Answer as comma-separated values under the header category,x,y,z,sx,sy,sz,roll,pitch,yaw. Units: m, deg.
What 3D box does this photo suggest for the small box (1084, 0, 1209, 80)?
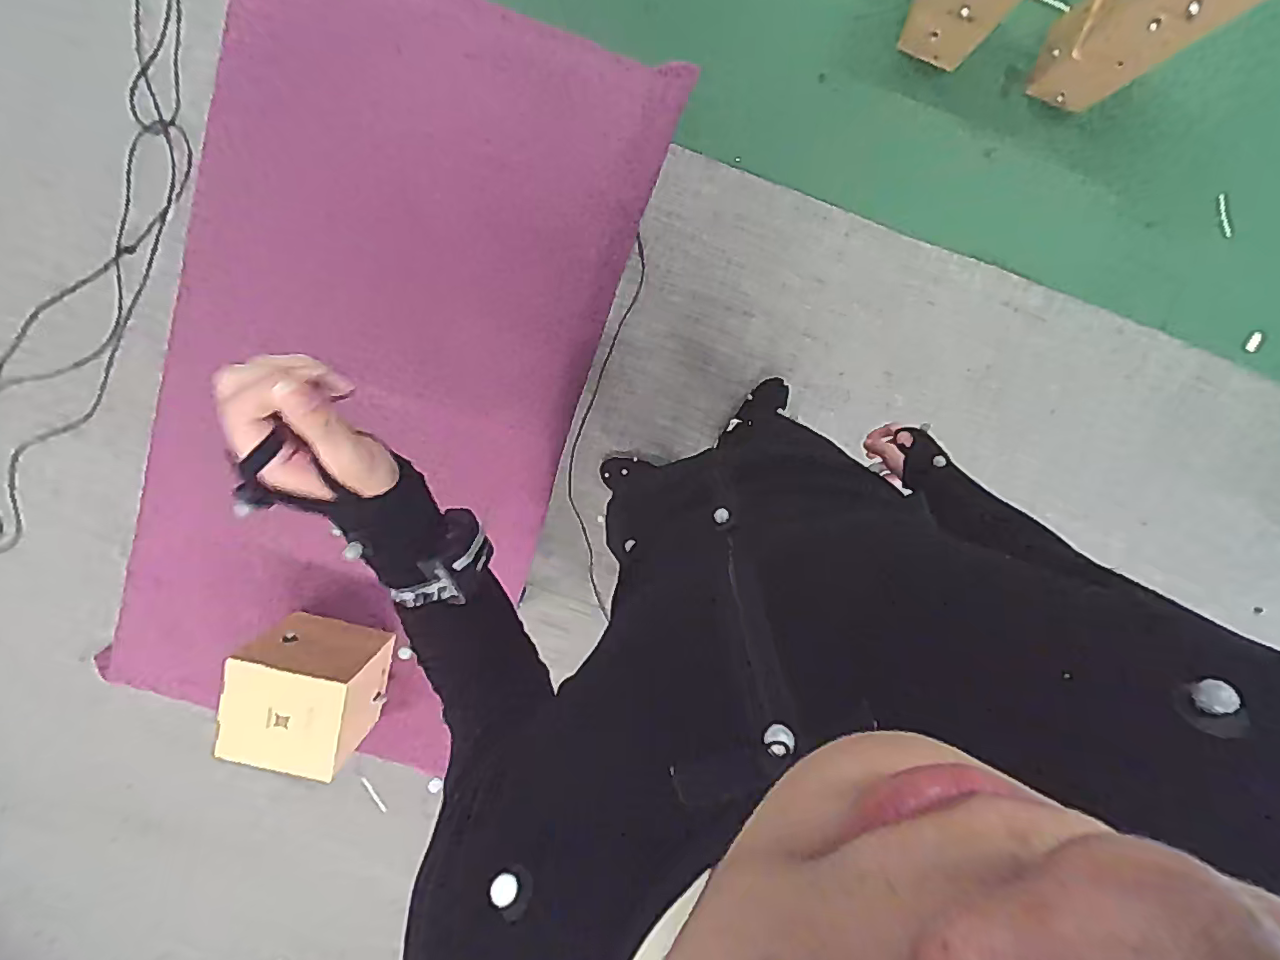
category,x,y,z,sx,sy,sz,roll,pitch,yaw
small box,1.149,-1.048,1.196,0.168,0.176,0.179,23,99,-4

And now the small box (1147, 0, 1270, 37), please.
category,x,y,z,sx,sy,sz,roll,pitch,yaw
small box,1.146,-1.018,1.034,0.168,0.176,0.179,23,100,-4

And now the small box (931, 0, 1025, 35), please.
category,x,y,z,sx,sy,sz,roll,pitch,yaw
small box,0.776,-1.141,1.183,0.168,0.176,0.179,17,99,-2

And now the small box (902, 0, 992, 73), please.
category,x,y,z,sx,sy,sz,roll,pitch,yaw
small box,0.787,-1.171,1.345,0.168,0.176,0.179,20,98,-3

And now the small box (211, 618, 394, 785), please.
category,x,y,z,sx,sy,sz,roll,pitch,yaw
small box,-0.524,0.339,0.860,0.179,0.176,0.168,14,100,-3
